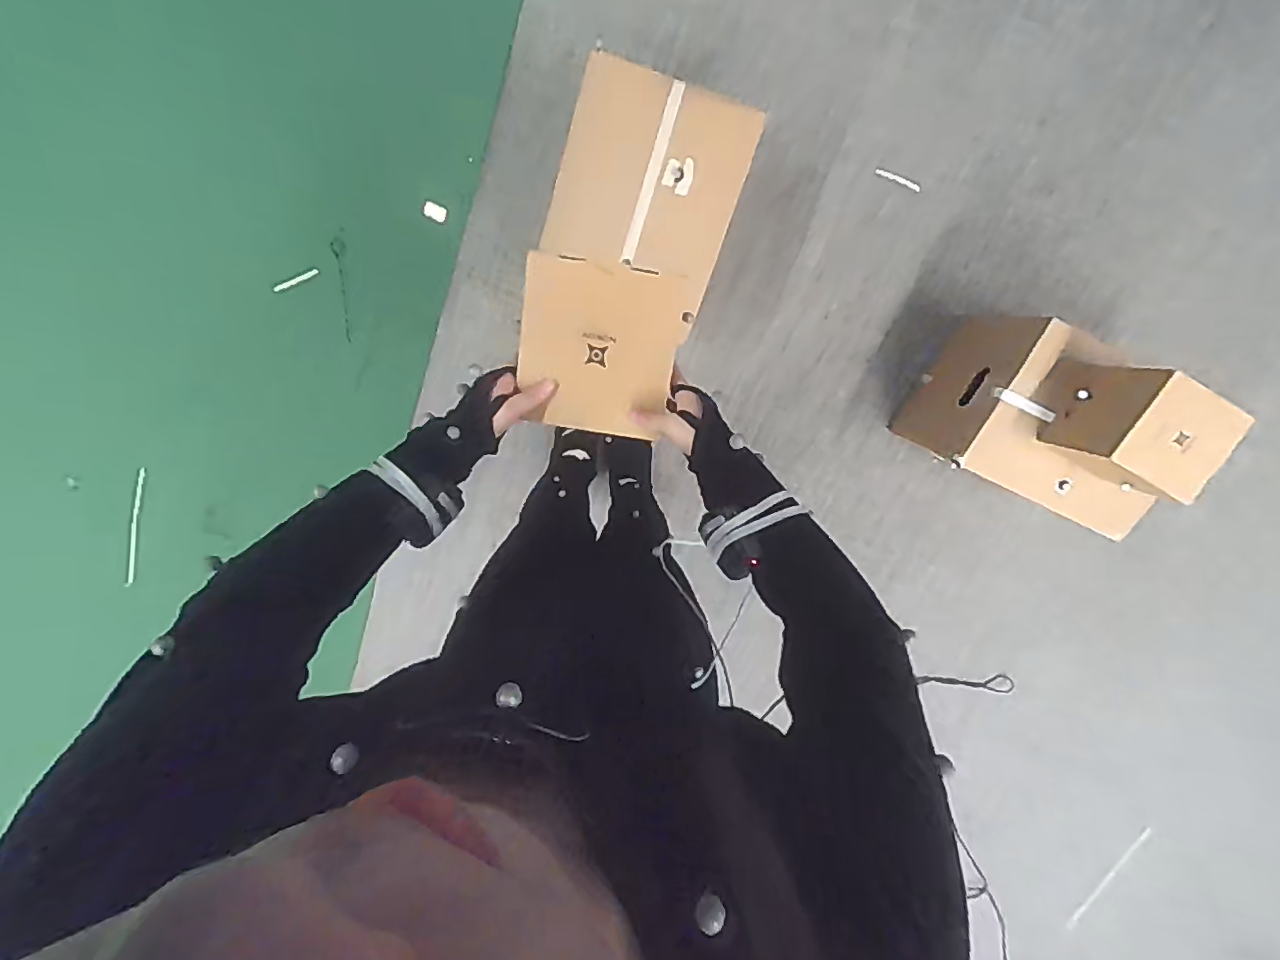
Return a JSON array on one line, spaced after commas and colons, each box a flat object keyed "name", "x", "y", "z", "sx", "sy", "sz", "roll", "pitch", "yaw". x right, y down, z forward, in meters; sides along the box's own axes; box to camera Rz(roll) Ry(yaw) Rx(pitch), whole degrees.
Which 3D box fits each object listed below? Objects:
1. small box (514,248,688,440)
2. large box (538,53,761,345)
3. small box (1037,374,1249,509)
[{"name": "small box", "x": -0.044, "y": -0.164, "z": 0.652, "sx": 0.168, "sy": 0.176, "sz": 0.179, "roll": 10, "pitch": 107, "yaw": -3}, {"name": "large box", "x": 0.004, "y": -0.516, "z": 1.094, "sx": 0.320, "sy": 0.320, "sz": 0.408, "roll": 19, "pitch": 105, "yaw": -4}, {"name": "small box", "x": 0.873, "y": -0.078, "z": 0.958, "sx": 0.179, "sy": 0.176, "sz": 0.168, "roll": 28, "pitch": 102, "yaw": -7}]
